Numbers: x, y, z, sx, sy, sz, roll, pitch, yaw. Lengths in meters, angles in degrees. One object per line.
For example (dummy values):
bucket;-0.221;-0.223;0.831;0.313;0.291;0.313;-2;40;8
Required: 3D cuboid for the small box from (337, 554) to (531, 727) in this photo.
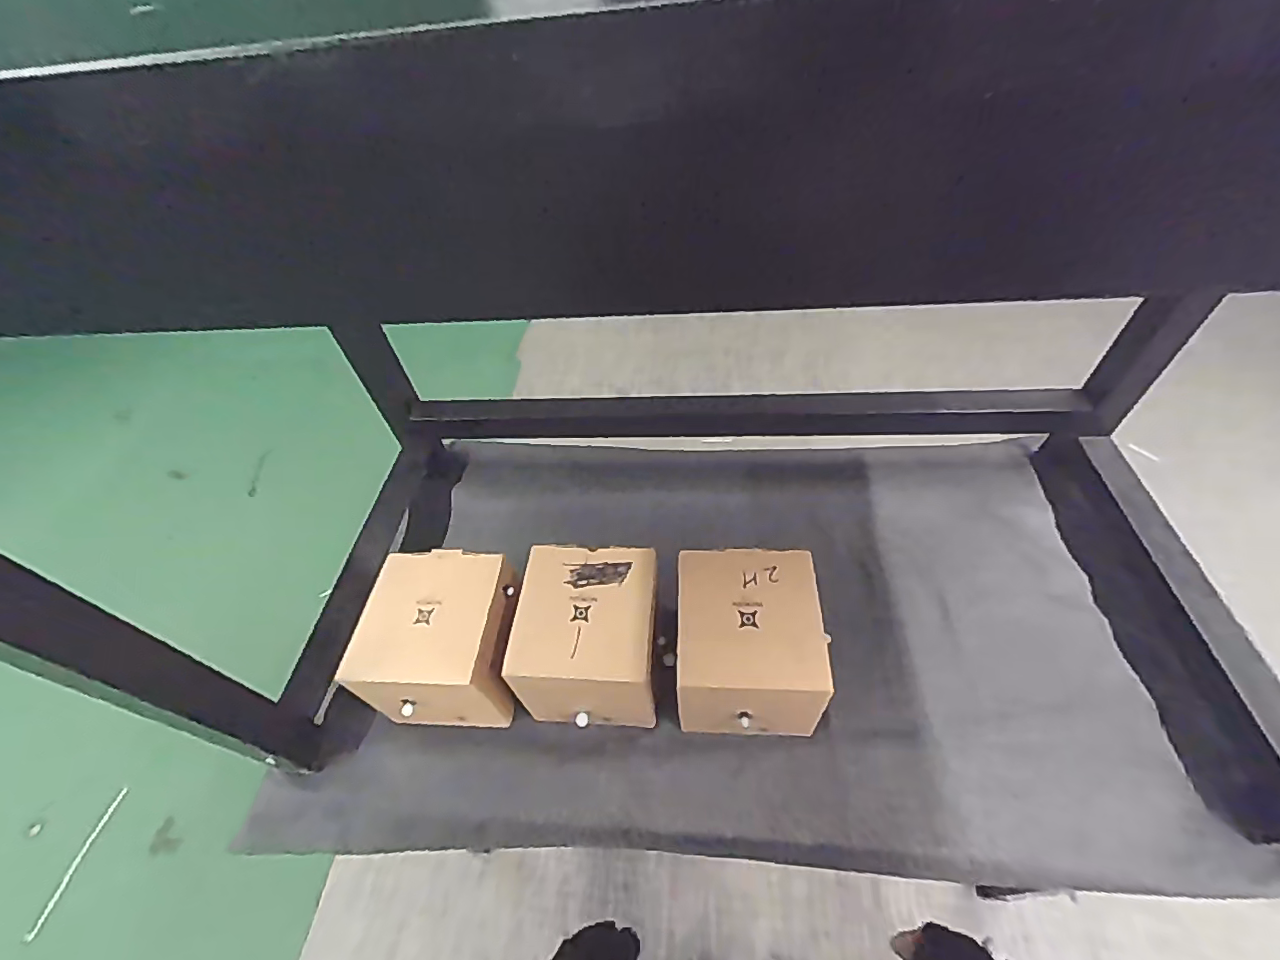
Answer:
small box;-0.255;0.217;0.725;0.168;0.176;0.179;0;49;6
